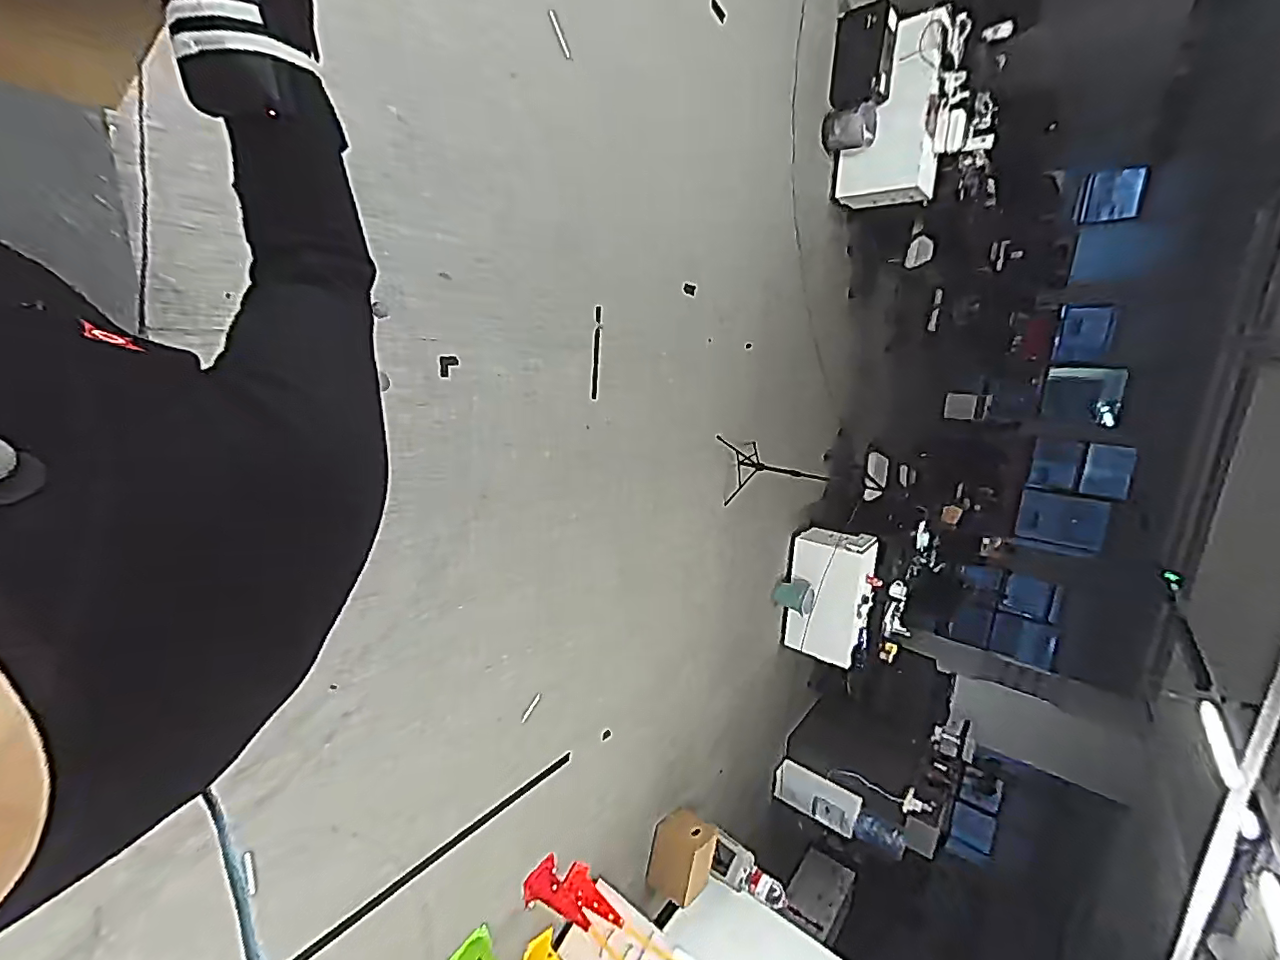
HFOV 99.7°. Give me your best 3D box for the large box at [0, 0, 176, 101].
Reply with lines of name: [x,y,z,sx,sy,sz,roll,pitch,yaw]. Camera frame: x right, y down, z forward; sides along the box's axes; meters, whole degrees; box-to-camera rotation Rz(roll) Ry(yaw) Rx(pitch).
large box: [-0.503,-0.441,0.233,0.408,0.320,0.320,-18,111,-49]
